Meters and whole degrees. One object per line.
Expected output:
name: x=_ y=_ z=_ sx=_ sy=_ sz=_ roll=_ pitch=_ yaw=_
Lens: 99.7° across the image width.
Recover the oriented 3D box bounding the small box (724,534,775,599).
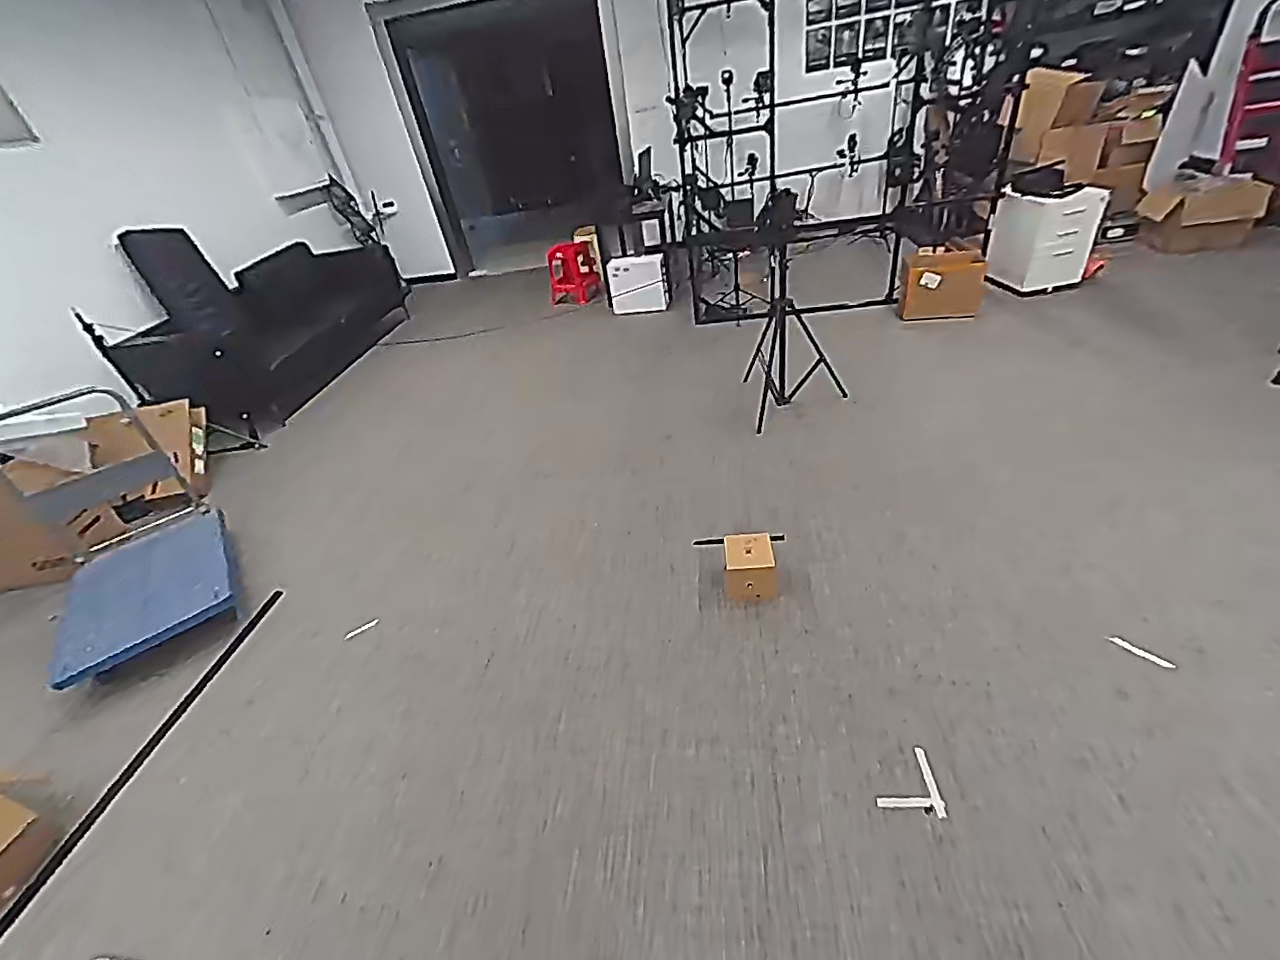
small box: x=0.398 y=0.319 z=1.963 sx=0.168 sy=0.176 sz=0.179 roll=-5 pitch=35 yaw=8
